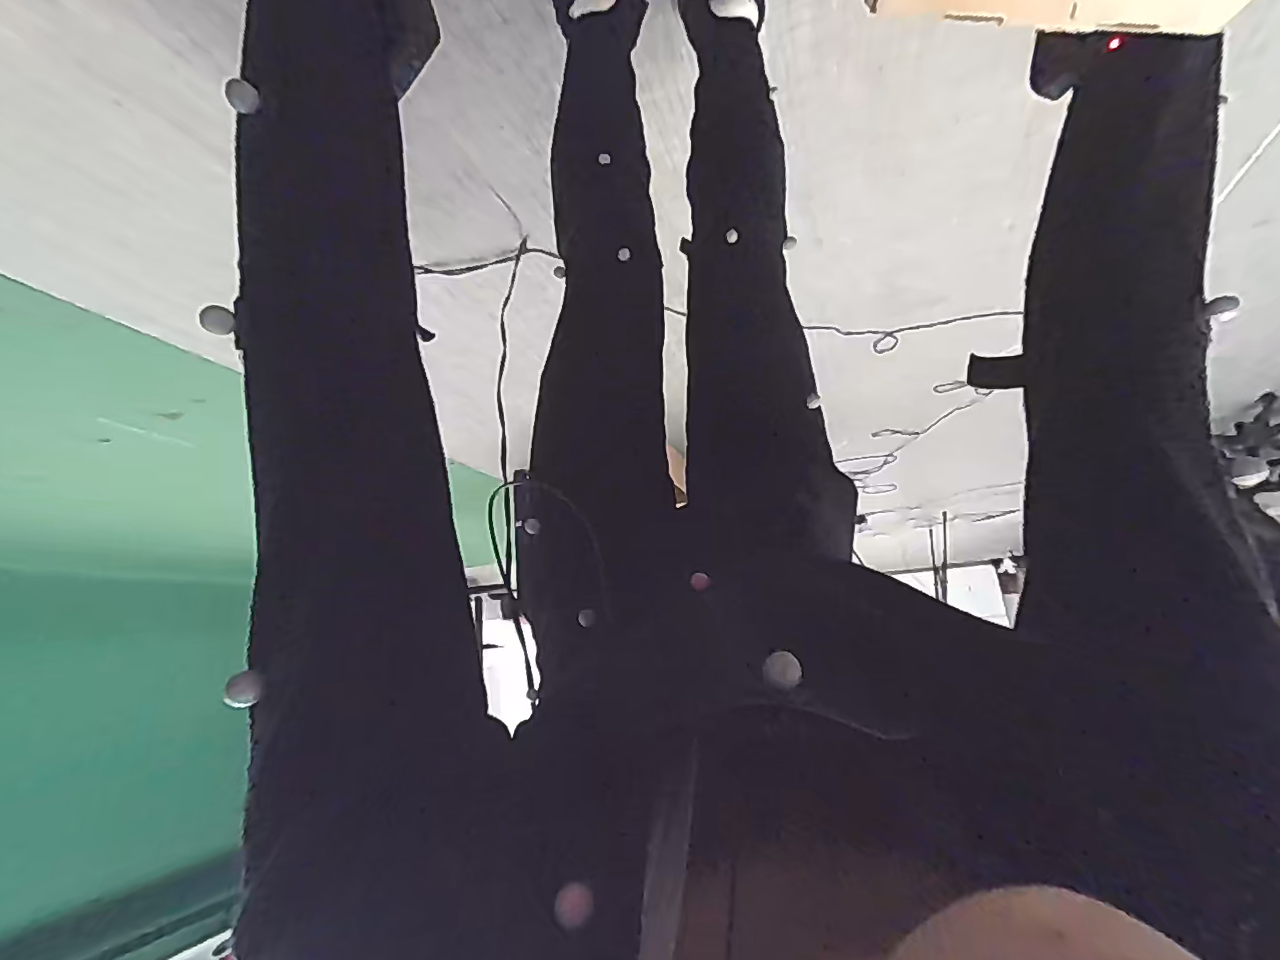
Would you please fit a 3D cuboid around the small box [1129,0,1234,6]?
[{"bbox_3d":[0.177,-0.303,0.167,0.168,0.176,0.179,-3,163,-6],"label":"small box"}]

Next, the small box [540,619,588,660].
[{"bbox_3d":[-0.351,0.736,2.504,0.168,0.176,0.179,-12,162,17],"label":"small box"}]
